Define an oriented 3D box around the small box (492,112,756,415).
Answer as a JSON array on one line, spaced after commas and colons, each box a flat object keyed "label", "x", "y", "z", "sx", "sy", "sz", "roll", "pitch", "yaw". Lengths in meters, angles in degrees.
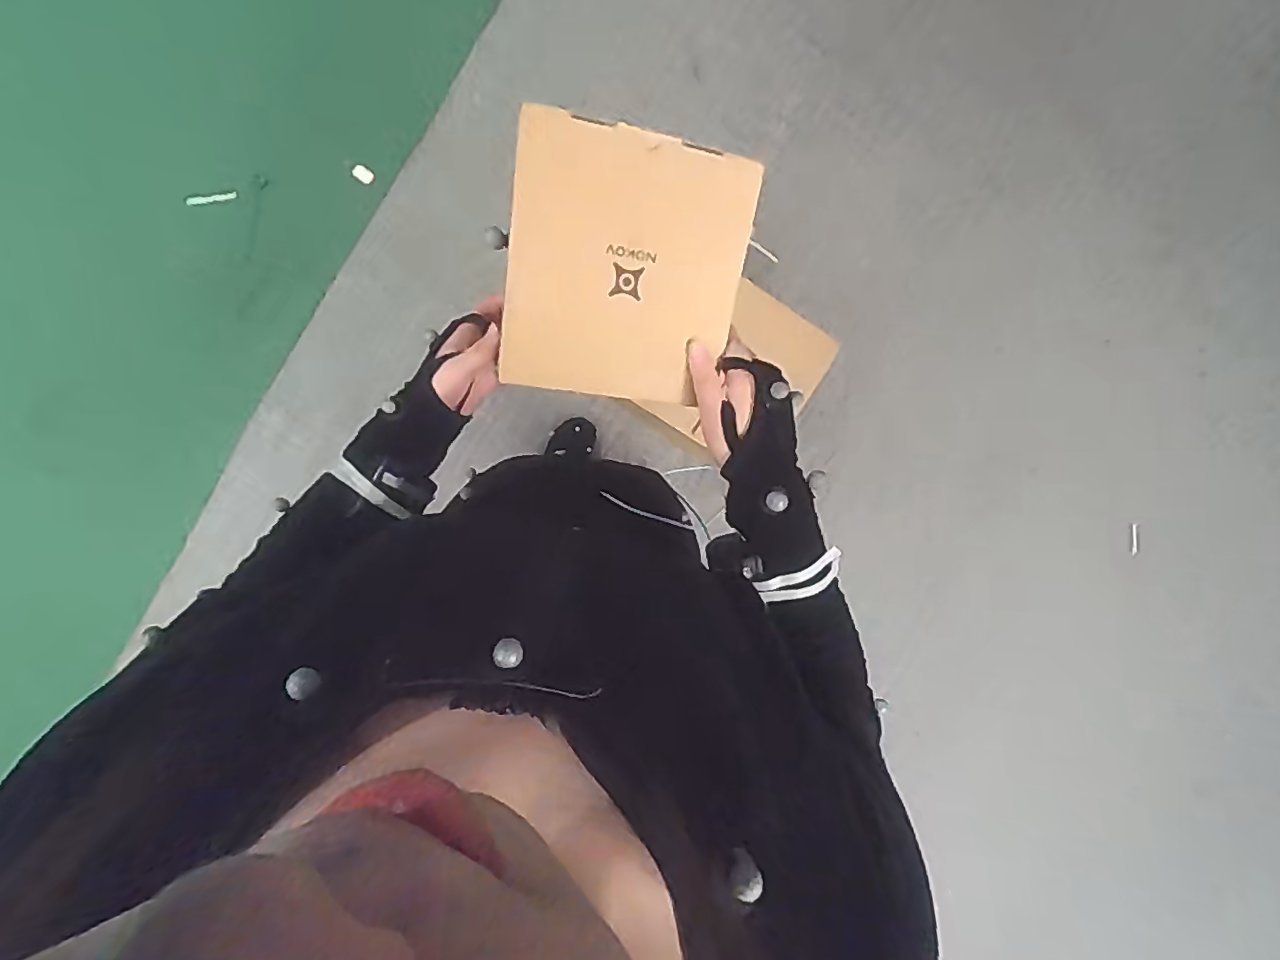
[{"label": "small box", "x": -0.028, "y": -0.168, "z": 0.453, "sx": 0.168, "sy": 0.176, "sz": 0.179, "roll": 5, "pitch": 110, "yaw": -15}]
